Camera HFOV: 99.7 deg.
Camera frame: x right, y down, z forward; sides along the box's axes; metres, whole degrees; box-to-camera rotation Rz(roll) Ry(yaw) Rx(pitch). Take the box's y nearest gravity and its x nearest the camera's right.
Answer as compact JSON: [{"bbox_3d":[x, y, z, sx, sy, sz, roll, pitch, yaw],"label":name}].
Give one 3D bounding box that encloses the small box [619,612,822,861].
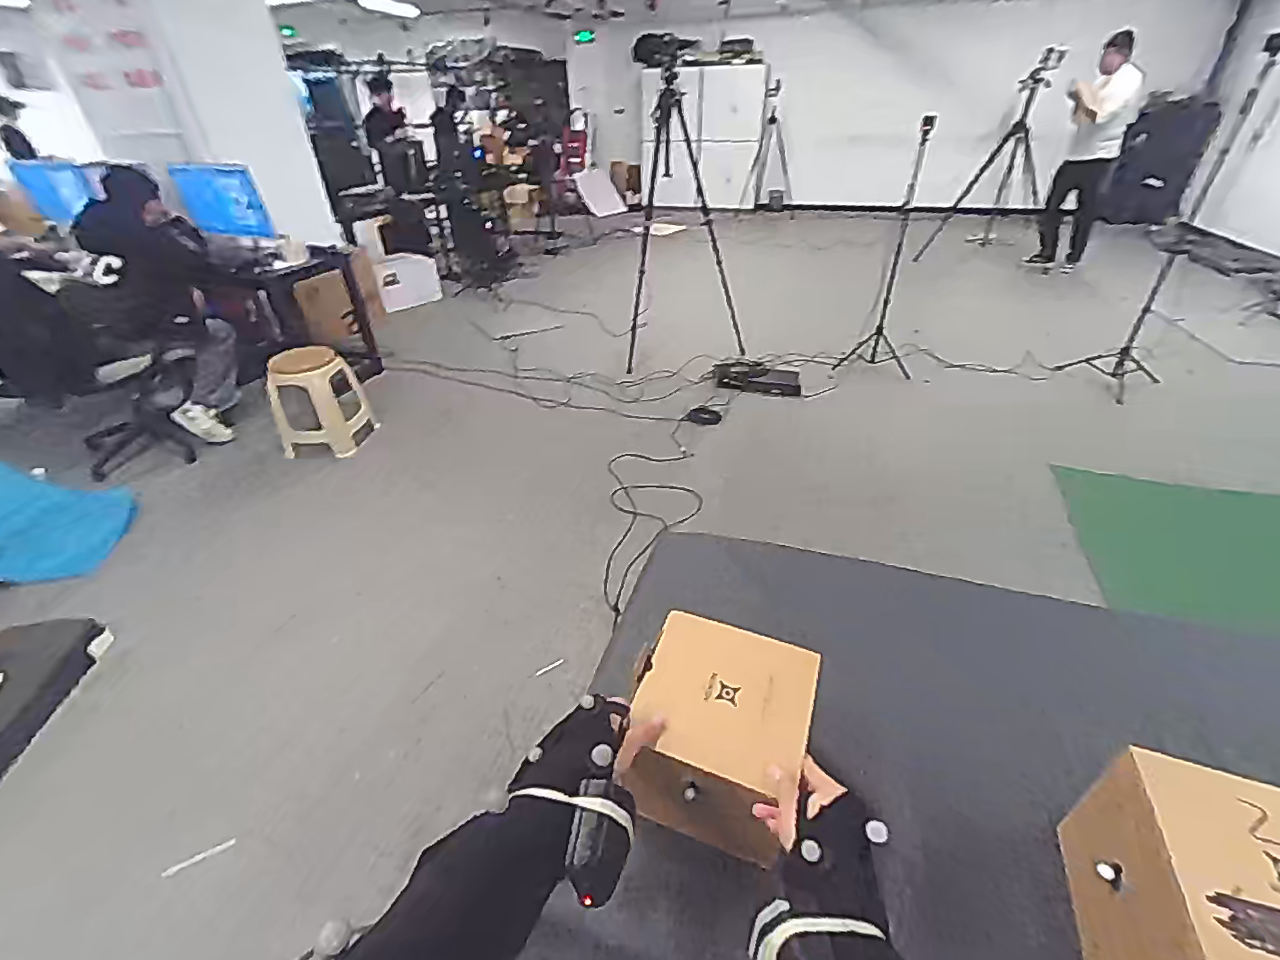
[{"bbox_3d":[0.089,0.282,0.601,0.179,0.176,0.168,13,41,17],"label":"small box"}]
